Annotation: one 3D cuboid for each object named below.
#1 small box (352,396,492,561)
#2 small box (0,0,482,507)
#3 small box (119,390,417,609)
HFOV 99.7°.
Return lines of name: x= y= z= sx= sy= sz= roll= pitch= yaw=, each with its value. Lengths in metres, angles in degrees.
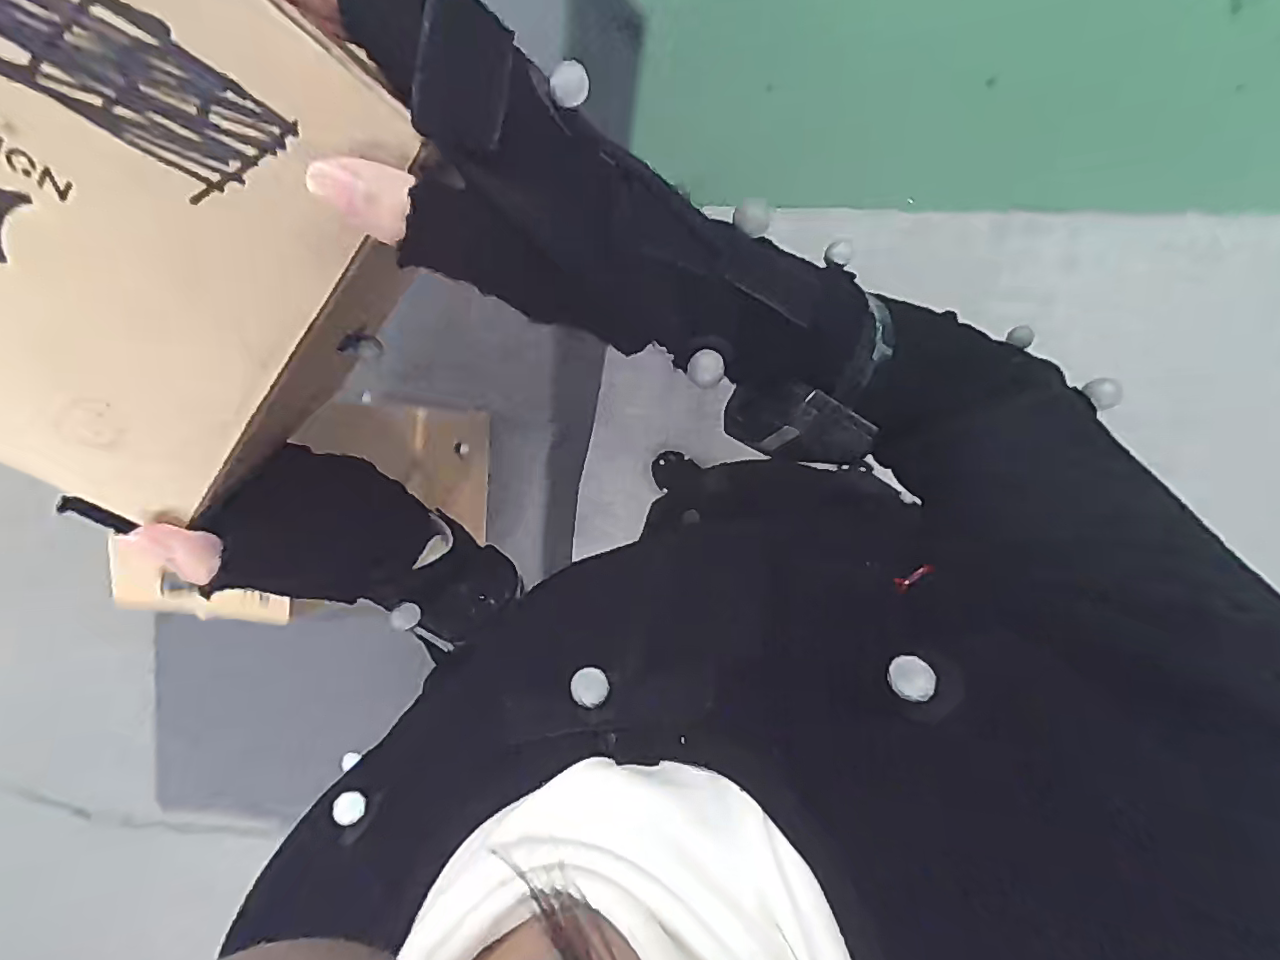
small box: x=-0.295 y=-0.011 z=0.669 sx=0.168 sy=0.176 sz=0.179 roll=3 pitch=97 yaw=10
small box: x=-0.182 y=-0.130 z=0.216 sx=0.179 sy=0.176 sz=0.168 roll=-42 pitch=115 yaw=16
small box: x=-0.331 y=0.004 z=0.510 sx=0.168 sy=0.176 sz=0.179 roll=4 pitch=95 yaw=10
